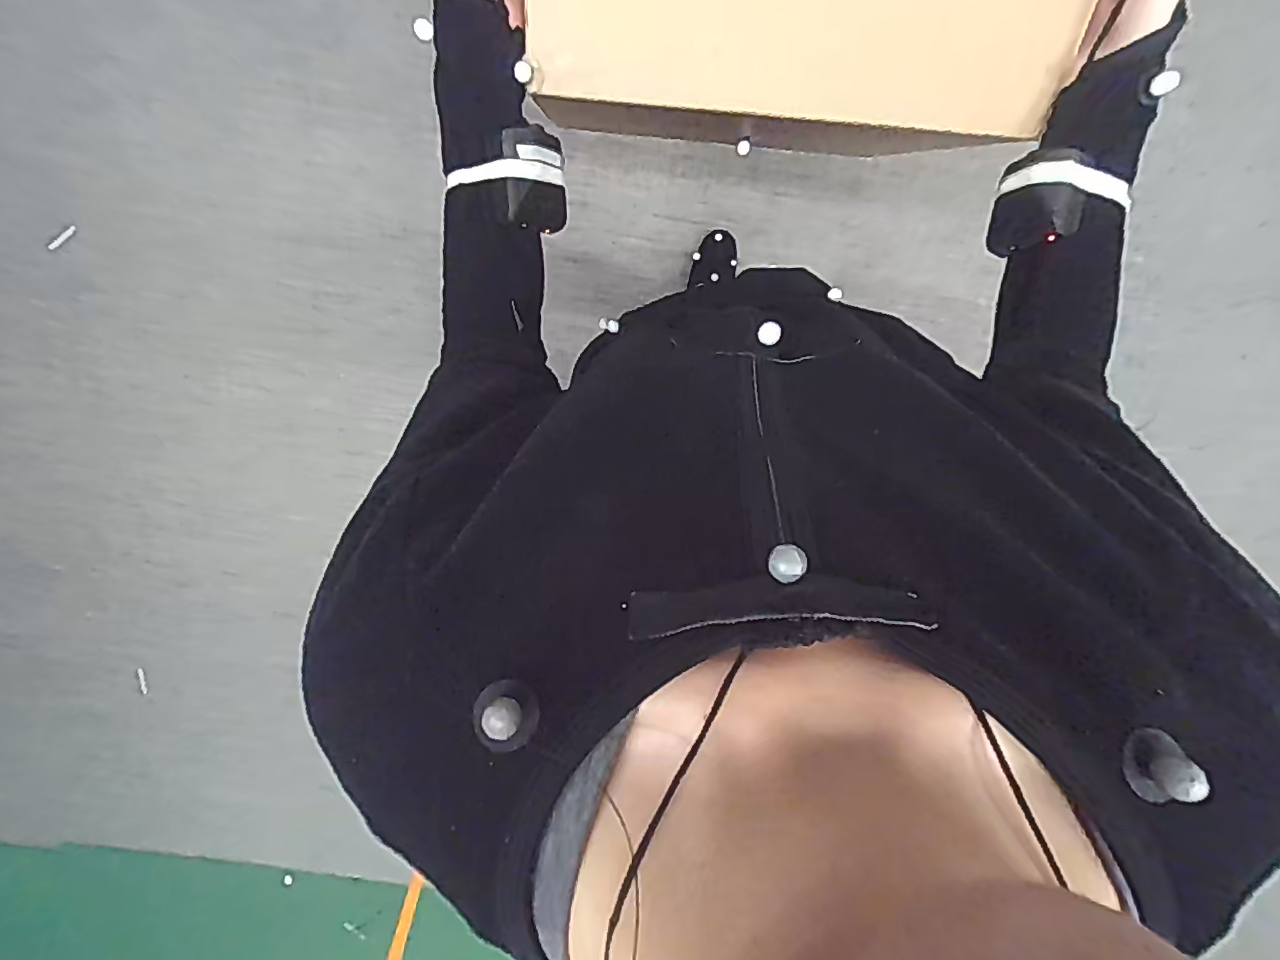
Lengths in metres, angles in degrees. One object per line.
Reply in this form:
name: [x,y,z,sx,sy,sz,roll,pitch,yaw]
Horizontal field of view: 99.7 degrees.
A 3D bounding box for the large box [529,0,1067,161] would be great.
large box: [0.117,-0.480,0.490,0.408,0.320,0.320,2,117,-5]
